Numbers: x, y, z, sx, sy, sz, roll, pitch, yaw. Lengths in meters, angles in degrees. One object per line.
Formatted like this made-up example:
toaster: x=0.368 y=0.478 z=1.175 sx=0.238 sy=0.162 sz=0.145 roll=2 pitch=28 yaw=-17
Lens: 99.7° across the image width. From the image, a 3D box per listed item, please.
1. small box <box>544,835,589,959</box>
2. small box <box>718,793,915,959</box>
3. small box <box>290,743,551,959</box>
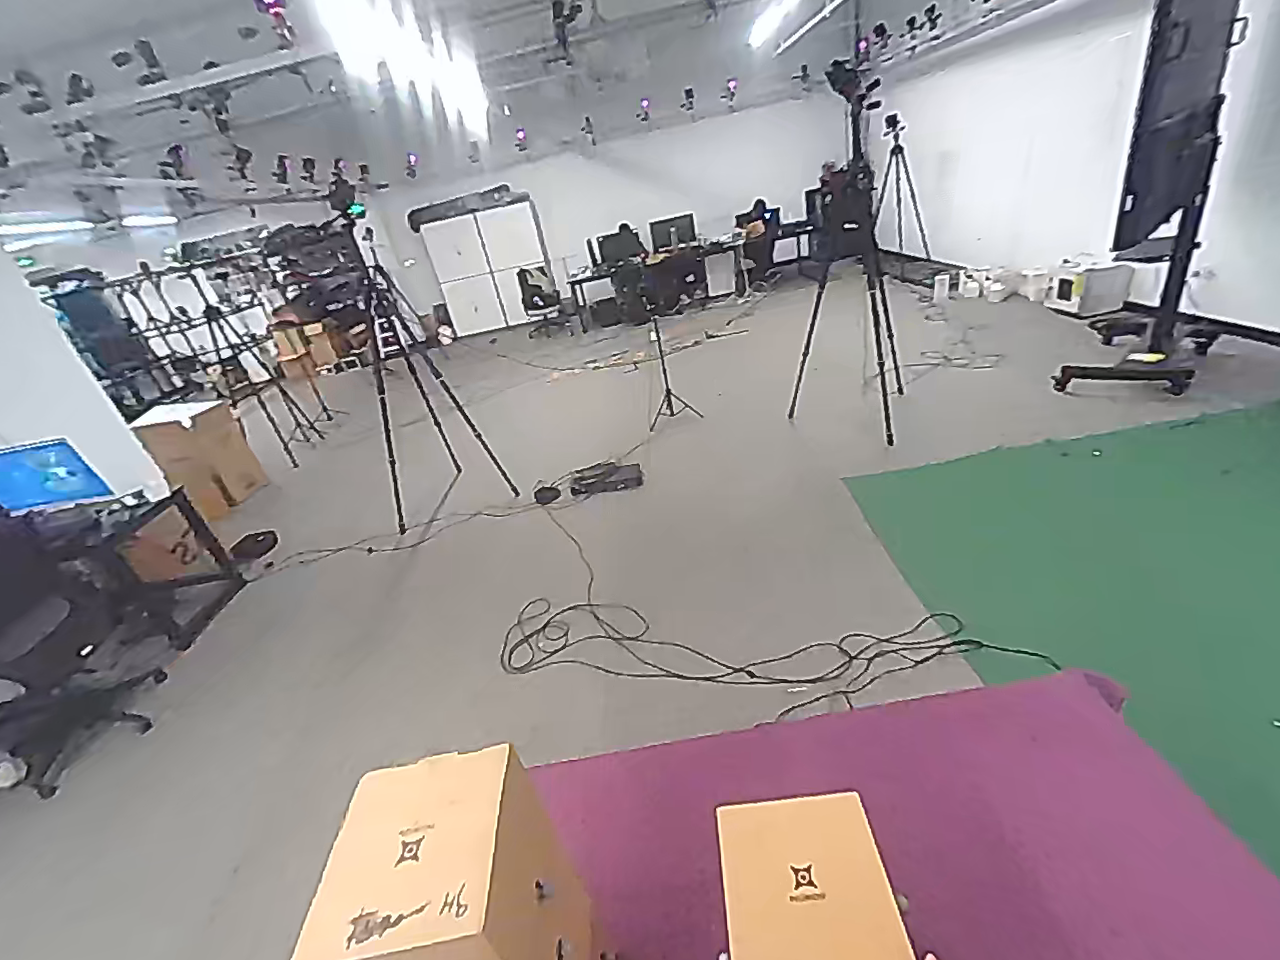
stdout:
small box: x=-0.158 y=0.550 z=0.610 sx=0.168 sy=0.176 sz=0.179 roll=-13 pitch=26 yaw=2
small box: x=0.182 y=0.476 z=0.581 sx=0.168 sy=0.176 sz=0.179 roll=-11 pitch=27 yaw=7
small box: x=-0.193 y=0.406 z=0.540 sx=0.168 sy=0.176 sz=0.179 roll=-13 pitch=27 yaw=2
